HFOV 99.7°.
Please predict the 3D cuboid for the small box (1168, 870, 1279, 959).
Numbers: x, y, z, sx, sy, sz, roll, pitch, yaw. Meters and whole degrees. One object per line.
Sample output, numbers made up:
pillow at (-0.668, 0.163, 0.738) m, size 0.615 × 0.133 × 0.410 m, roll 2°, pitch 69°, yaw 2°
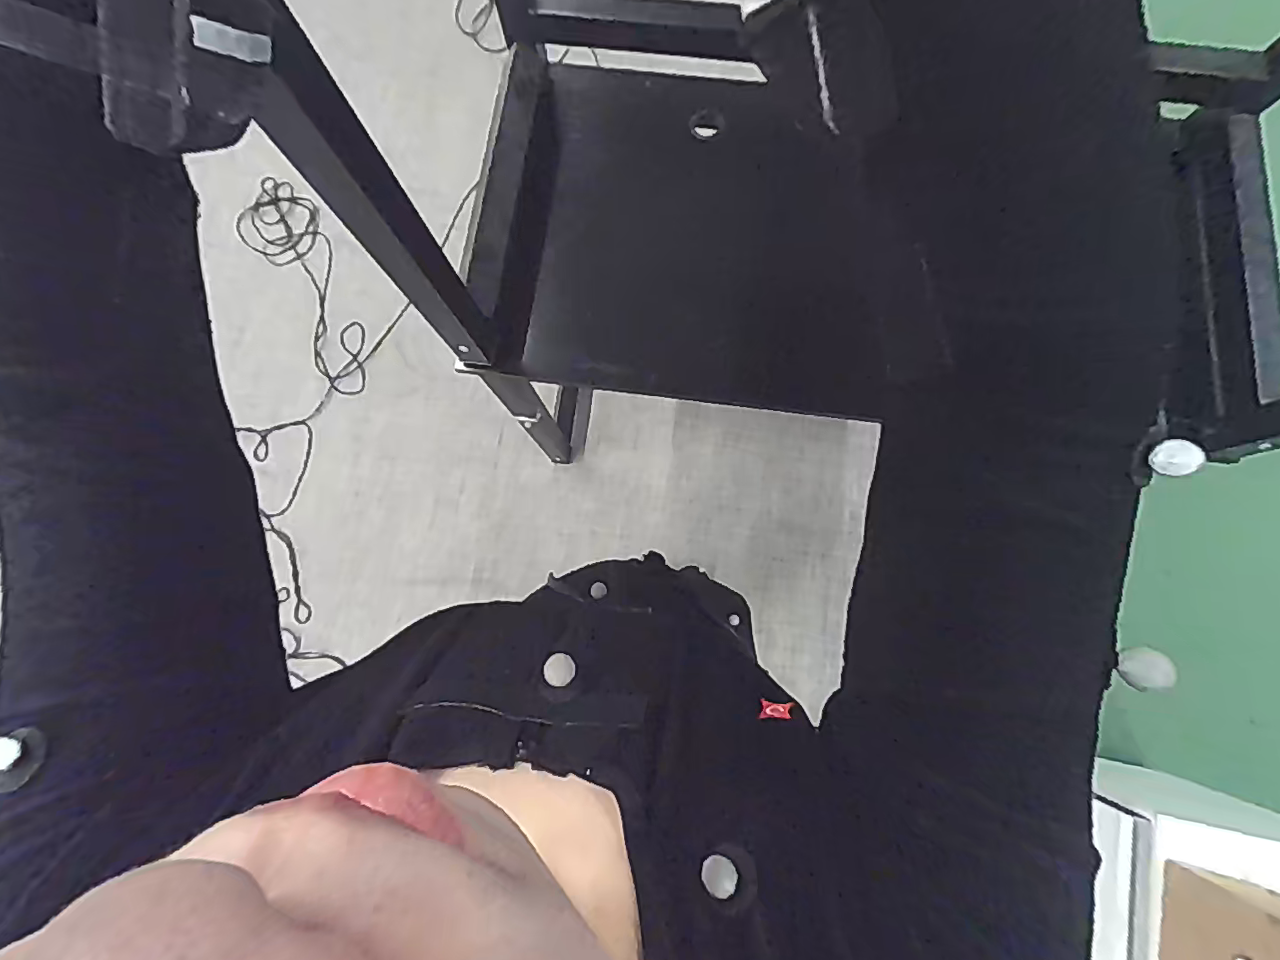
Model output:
small box at (0.856, 0.662, 0.710) m, size 0.168 × 0.176 × 0.179 m, roll 14°, pitch 80°, yaw 4°
